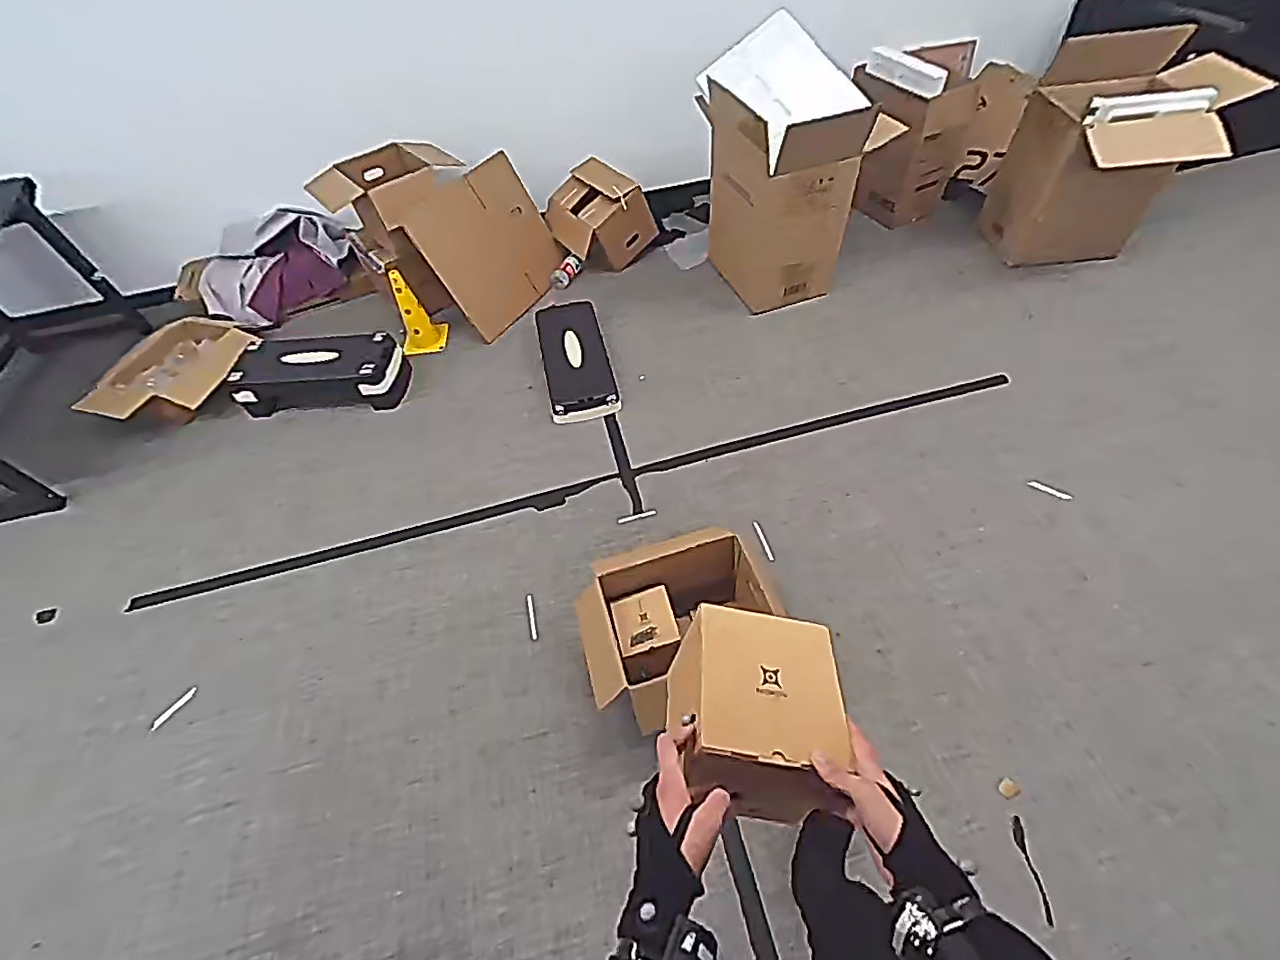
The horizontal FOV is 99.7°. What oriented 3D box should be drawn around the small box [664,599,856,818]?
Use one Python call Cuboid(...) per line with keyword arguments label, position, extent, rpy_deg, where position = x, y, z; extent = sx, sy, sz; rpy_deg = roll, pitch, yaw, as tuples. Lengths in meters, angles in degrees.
Cuboid(label="small box", position=(0.128, 0.275, 0.651), extent=(0.168, 0.176, 0.179), rpy_deg=(12, 43, -5))
